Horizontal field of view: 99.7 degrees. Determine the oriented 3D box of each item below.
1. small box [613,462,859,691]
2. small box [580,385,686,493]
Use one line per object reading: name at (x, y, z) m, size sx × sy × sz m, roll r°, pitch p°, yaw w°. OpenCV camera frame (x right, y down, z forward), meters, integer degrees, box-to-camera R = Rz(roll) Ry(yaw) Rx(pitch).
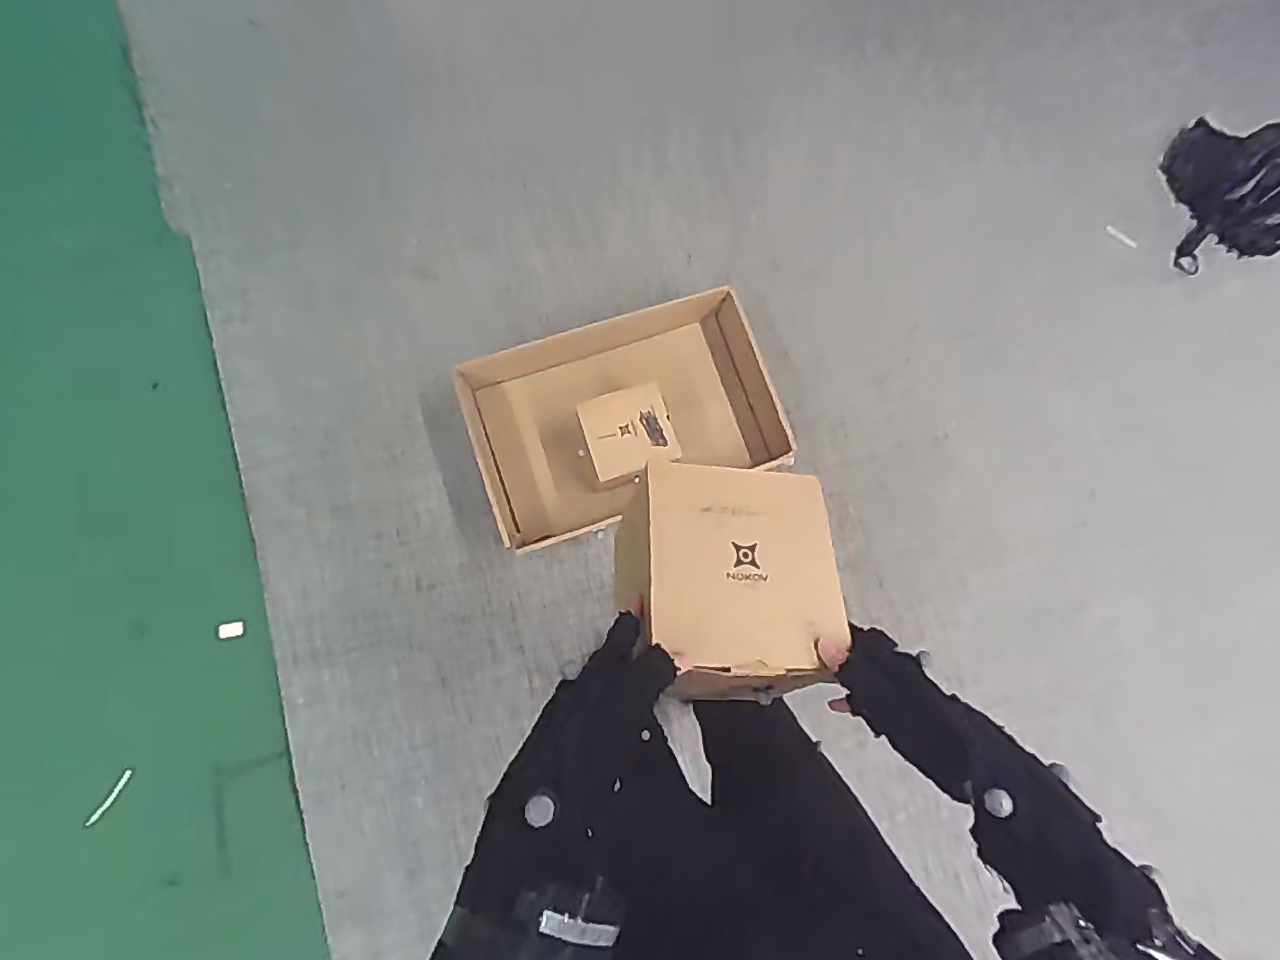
small box at (0.071, 0.098, 0.510) m, size 0.168 × 0.176 × 0.179 m, roll 1°, pitch 62°, yaw -12°
small box at (-0.019, -0.080, 1.145) m, size 0.179 × 0.176 × 0.168 m, roll -18°, pitch 83°, yaw -5°
